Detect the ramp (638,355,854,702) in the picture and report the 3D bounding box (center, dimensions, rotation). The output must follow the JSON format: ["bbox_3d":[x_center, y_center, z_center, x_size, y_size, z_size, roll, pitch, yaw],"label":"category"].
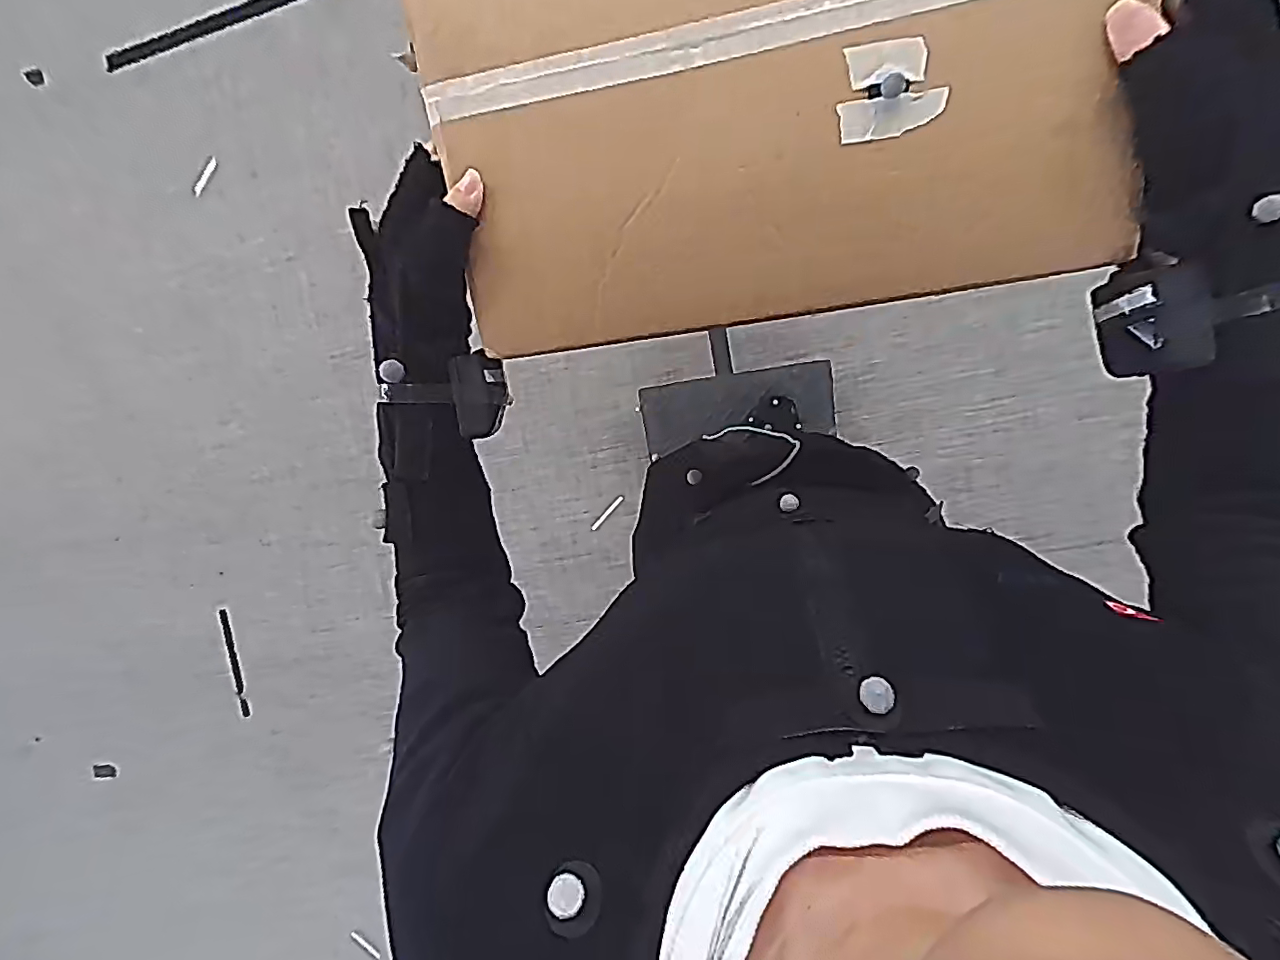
[{"bbox_3d":[0.319,0.188,1.515,0.509,0.206,0.991,-9,96,9],"label":"ramp"}]

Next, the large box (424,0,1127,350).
[{"bbox_3d":[0.084,-0.304,0.463,0.408,0.320,0.320,-7,106,8],"label":"large box"}]
